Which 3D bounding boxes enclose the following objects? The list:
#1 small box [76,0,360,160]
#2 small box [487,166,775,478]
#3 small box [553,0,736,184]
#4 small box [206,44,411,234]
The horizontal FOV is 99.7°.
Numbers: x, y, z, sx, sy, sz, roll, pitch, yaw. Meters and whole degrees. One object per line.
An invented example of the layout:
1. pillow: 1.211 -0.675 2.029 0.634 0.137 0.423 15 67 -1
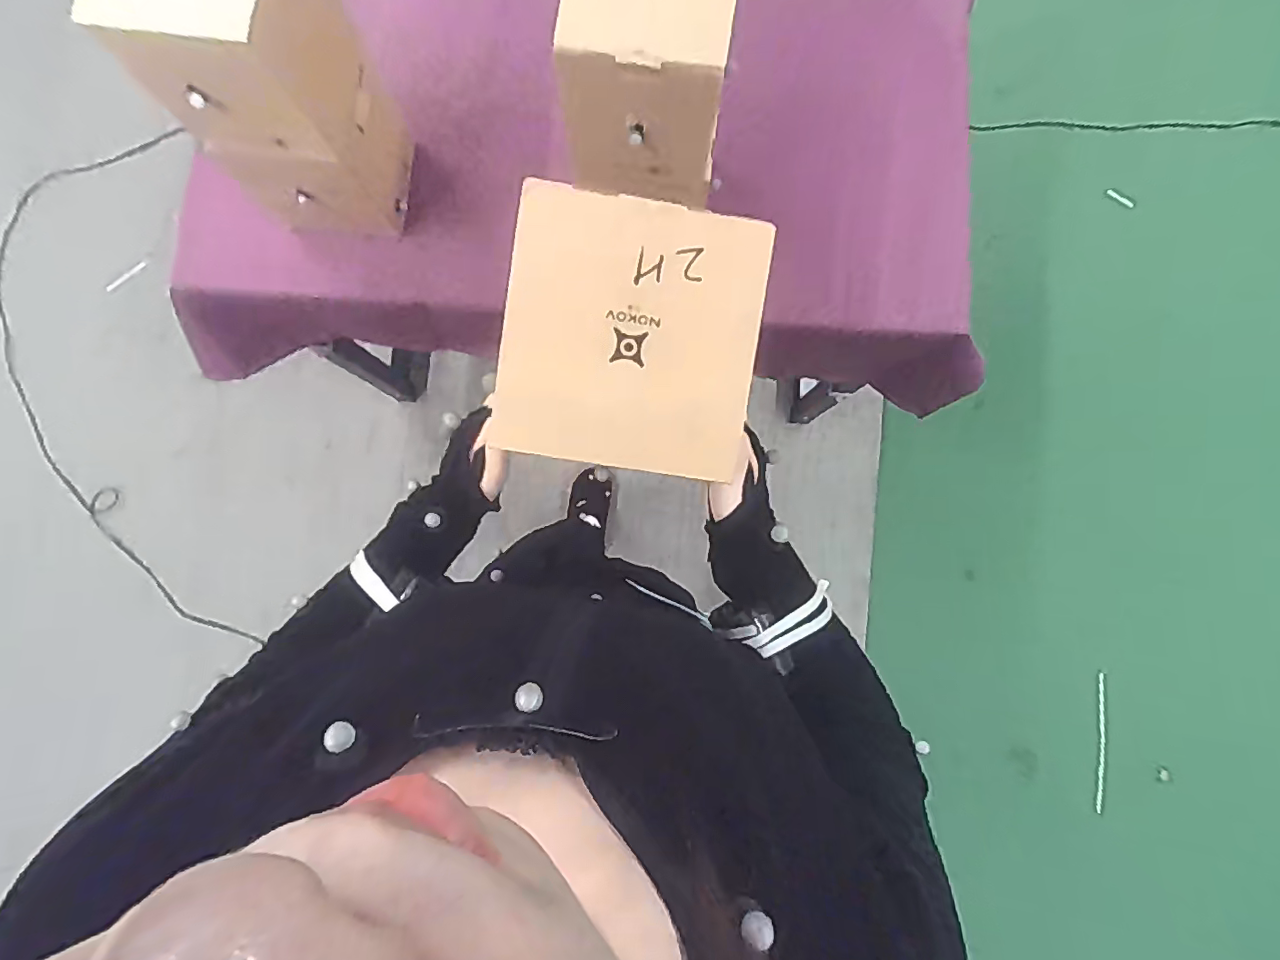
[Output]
1. small box: -0.433 -0.487 0.589 0.168 0.176 0.179 6 82 -1
2. small box: -0.011 -0.106 0.431 0.168 0.176 0.179 9 93 -5
3. small box: 0.011 -0.463 0.595 0.168 0.176 0.179 10 84 0
4. small box: -0.440 -0.466 0.750 0.179 0.176 0.168 5 83 0
